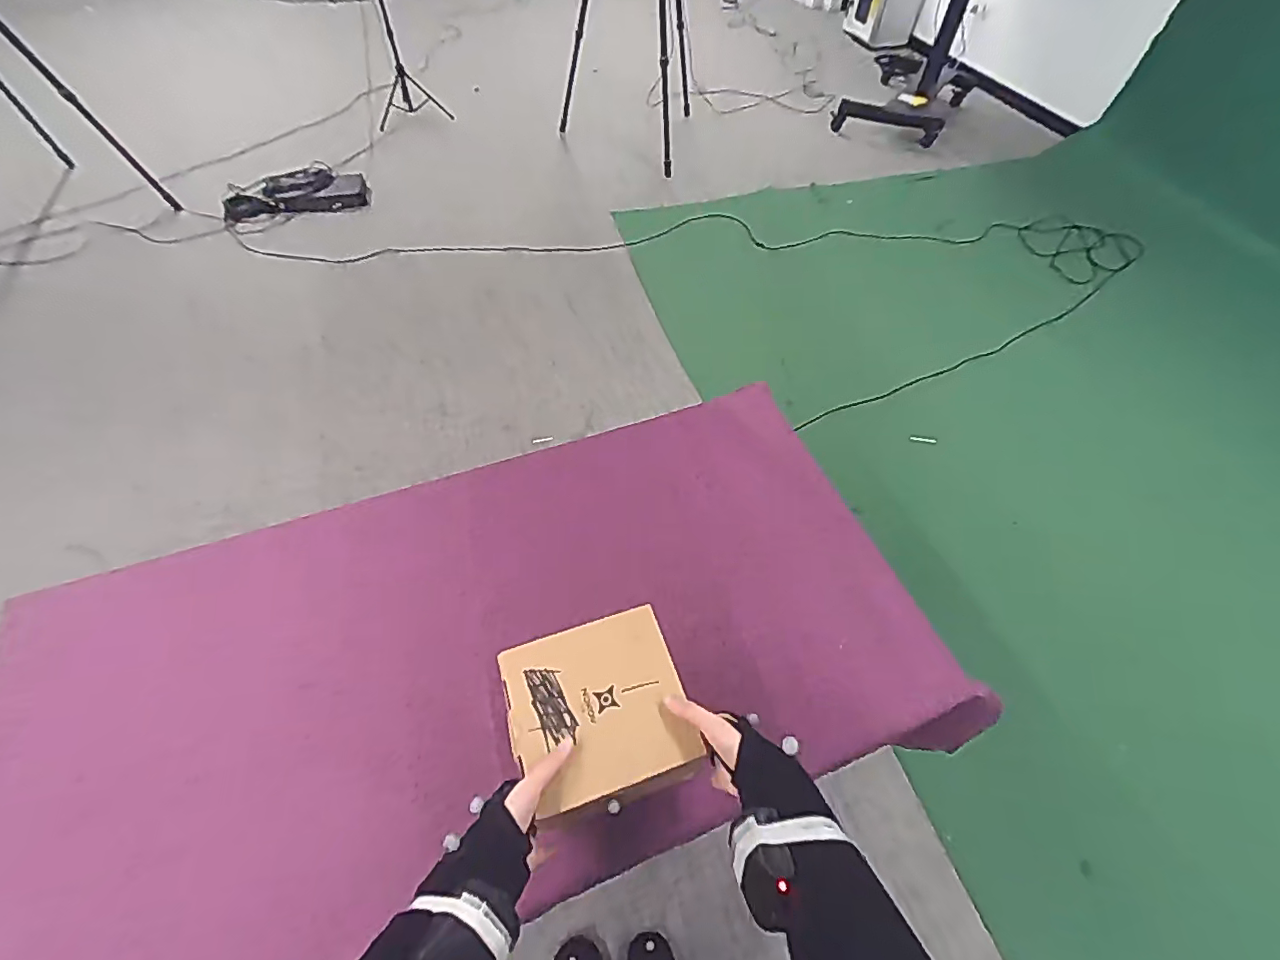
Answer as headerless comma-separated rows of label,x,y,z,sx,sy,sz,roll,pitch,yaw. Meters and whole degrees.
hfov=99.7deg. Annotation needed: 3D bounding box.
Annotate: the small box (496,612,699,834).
small box,-0.049,0.280,0.615,0.179,0.176,0.168,-15,56,-13
